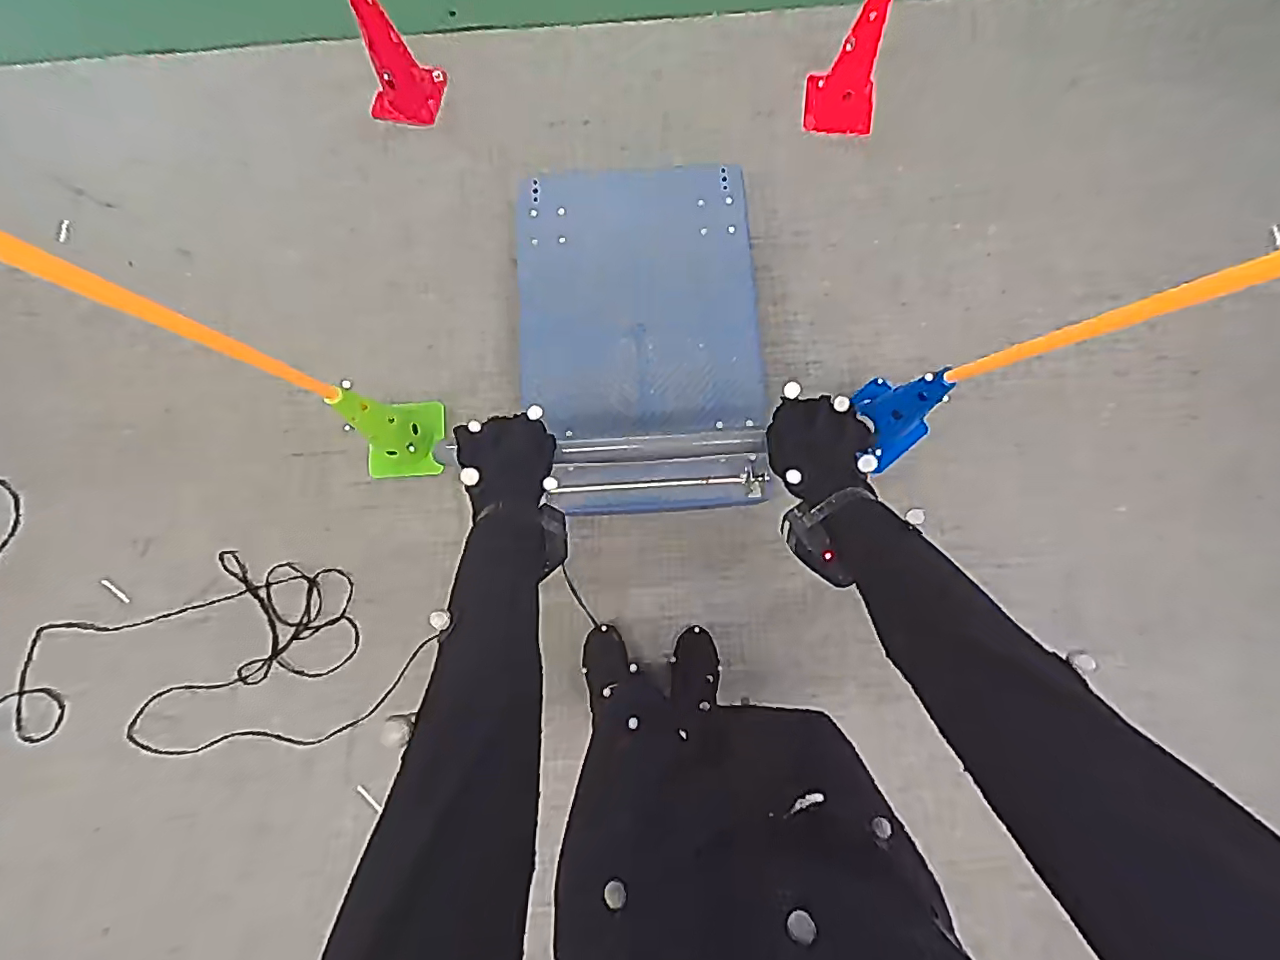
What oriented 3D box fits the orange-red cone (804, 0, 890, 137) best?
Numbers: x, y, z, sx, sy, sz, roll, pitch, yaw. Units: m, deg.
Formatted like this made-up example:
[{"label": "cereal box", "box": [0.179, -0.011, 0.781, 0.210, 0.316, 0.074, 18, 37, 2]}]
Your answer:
[{"label": "orange-red cone", "box": [0.587, -1.140, 1.437, 0.198, 0.360, 0.199, 8, 81, 4]}]
